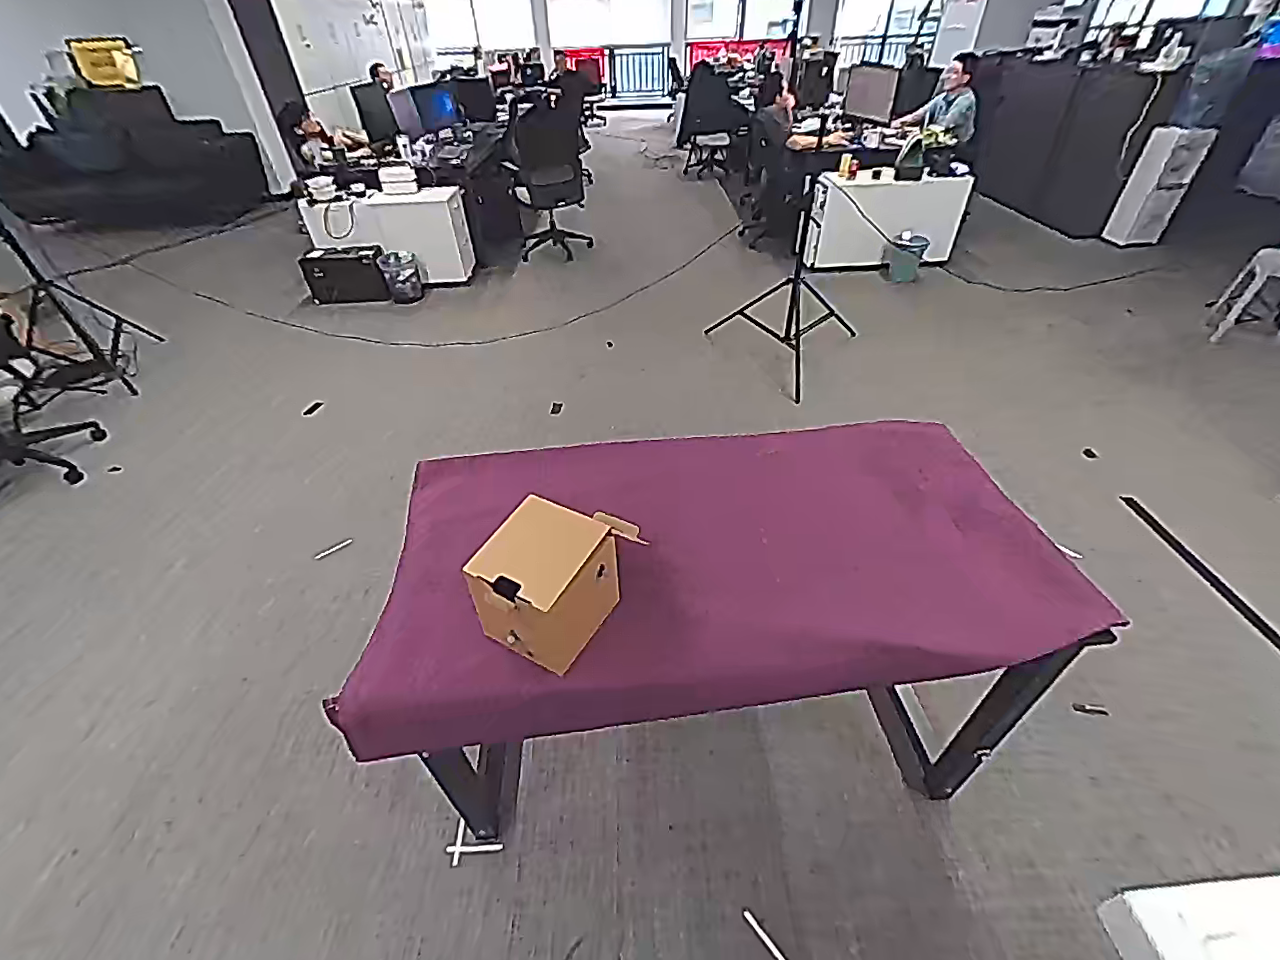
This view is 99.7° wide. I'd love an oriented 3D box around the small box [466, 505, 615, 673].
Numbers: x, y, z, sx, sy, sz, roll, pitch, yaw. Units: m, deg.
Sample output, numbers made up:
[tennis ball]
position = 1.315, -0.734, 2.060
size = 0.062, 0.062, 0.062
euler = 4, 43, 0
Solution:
[small box]
position = -0.153, 0.176, 0.892
size = 0.168, 0.176, 0.179
euler = 19, 44, 25
